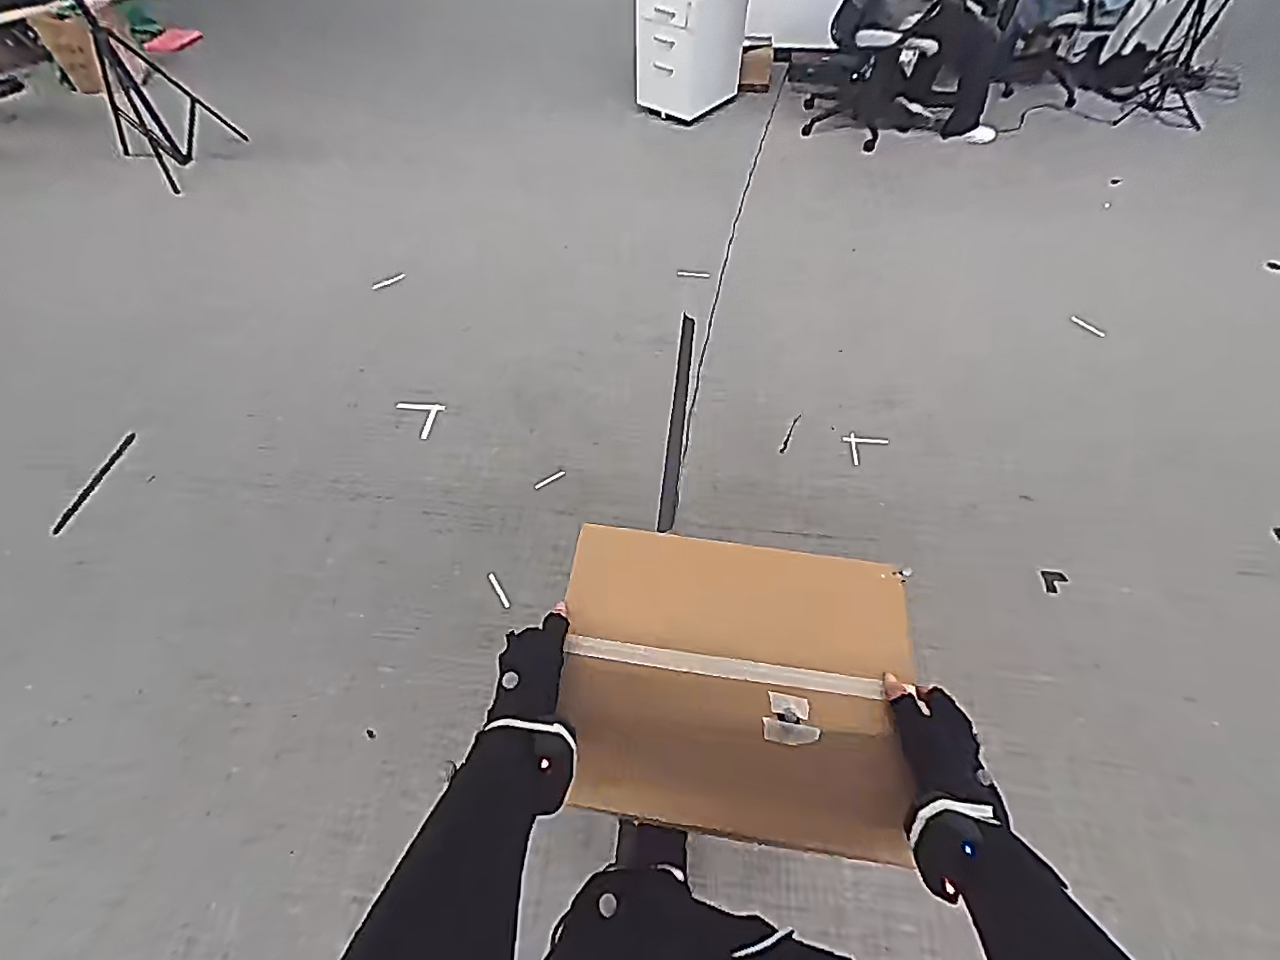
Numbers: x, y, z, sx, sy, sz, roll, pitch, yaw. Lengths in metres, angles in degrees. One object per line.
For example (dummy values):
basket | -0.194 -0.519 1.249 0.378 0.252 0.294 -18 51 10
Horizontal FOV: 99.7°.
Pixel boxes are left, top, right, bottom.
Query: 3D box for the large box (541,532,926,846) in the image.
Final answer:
large box | 0.108 0.297 0.756 0.408 0.320 0.320 7 58 5
